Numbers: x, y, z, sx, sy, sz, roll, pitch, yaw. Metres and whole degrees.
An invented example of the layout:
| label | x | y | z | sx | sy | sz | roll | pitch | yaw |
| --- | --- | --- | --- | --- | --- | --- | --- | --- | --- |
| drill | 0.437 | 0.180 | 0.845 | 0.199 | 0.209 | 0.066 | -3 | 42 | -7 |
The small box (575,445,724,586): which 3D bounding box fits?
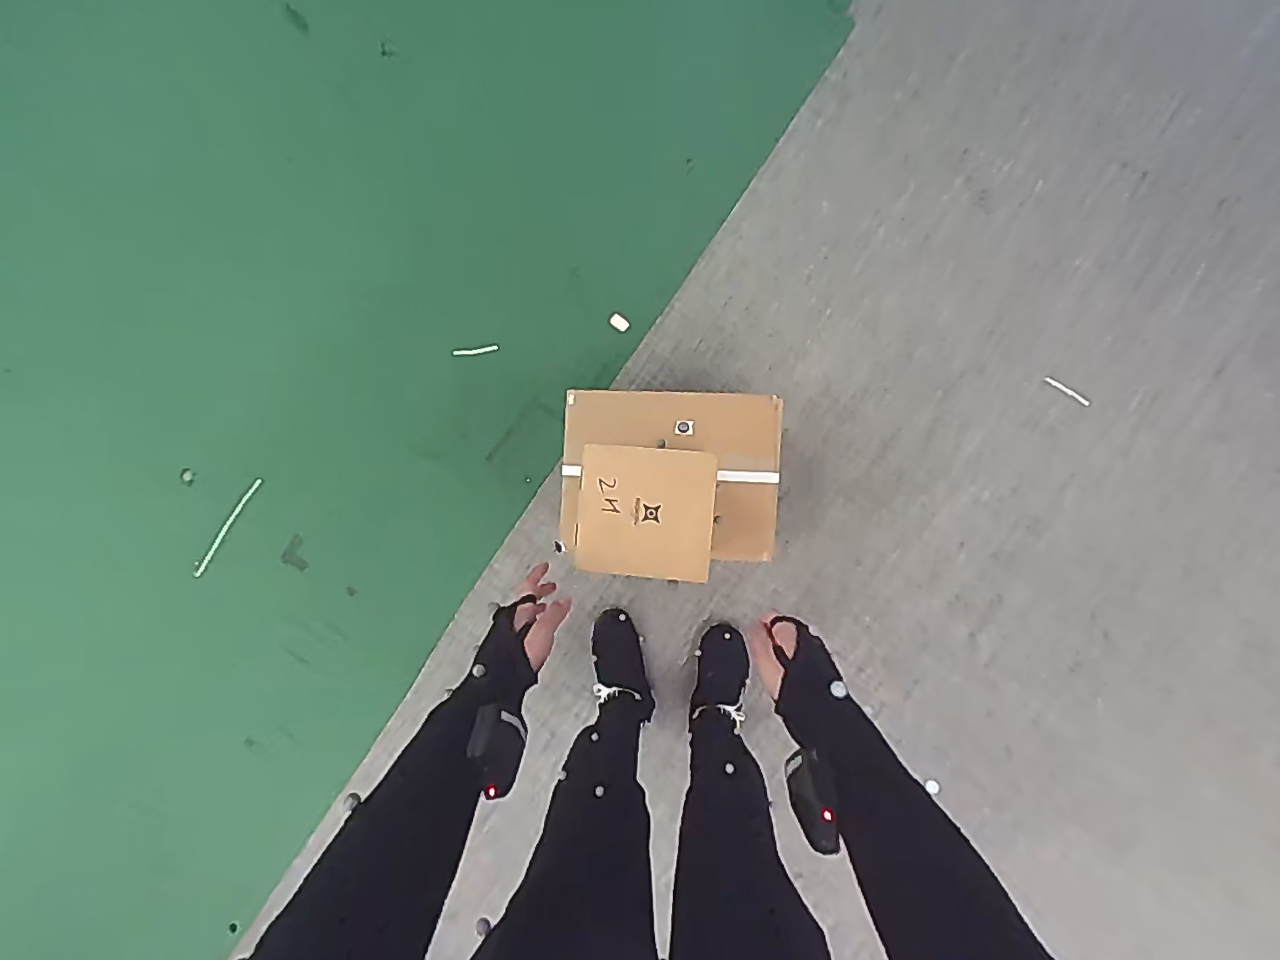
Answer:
| label | x | y | z | sx | sy | sz | roll | pitch | yaw |
| --- | --- | --- | --- | --- | --- | --- | --- | --- | --- |
| small box | 0.019 | 0.044 | 0.752 | 0.179 | 0.176 | 0.168 | 5 | 89 | 6 |
